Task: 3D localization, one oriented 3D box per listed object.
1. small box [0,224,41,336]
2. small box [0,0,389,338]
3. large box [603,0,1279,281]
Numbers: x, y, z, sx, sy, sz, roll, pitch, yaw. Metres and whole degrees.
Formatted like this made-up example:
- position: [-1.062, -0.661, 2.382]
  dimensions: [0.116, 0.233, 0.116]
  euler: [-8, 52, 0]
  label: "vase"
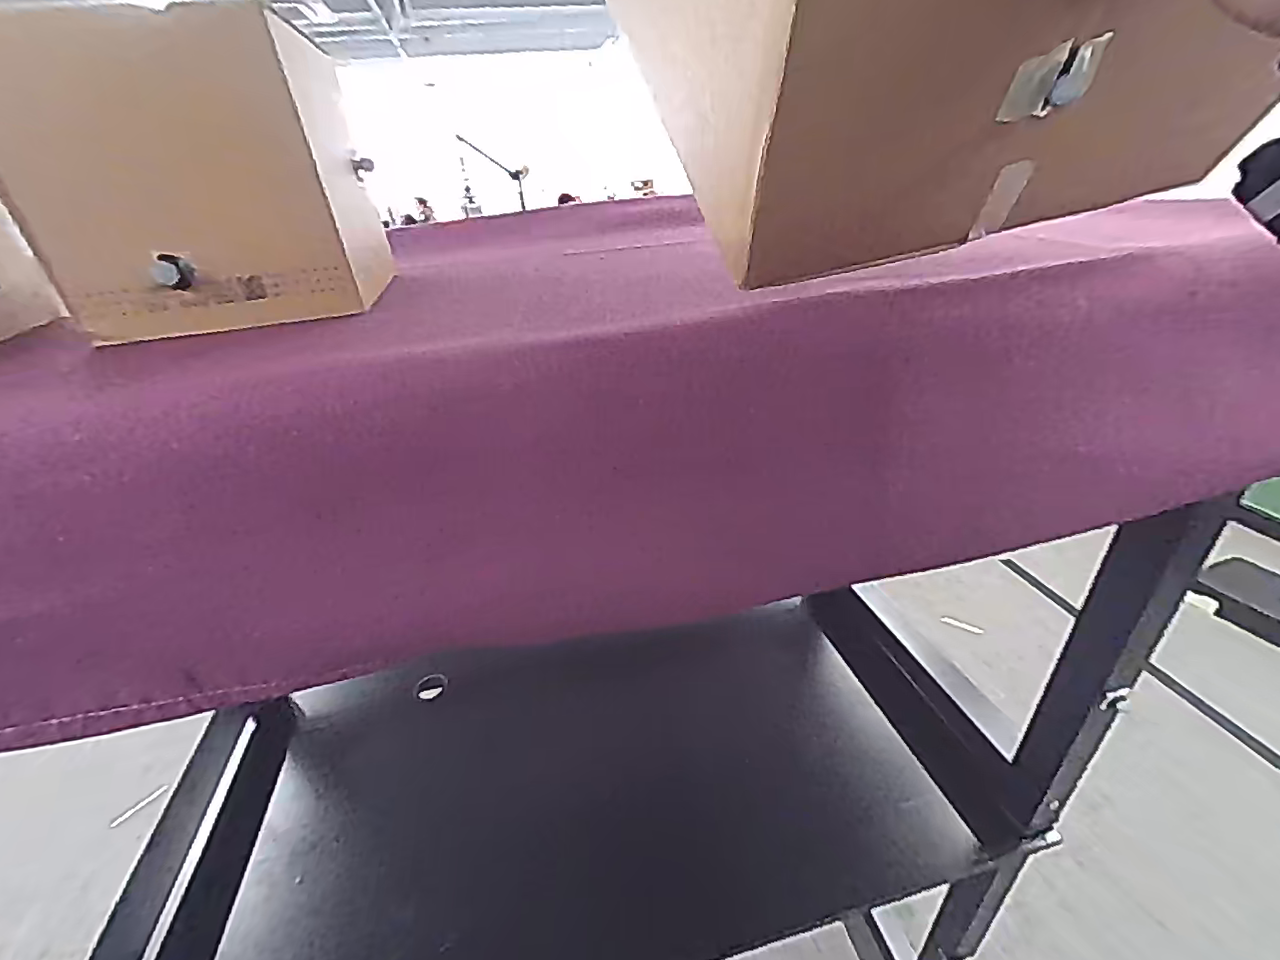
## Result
- position: [-0.520, -0.147, 0.308]
  dimensions: [0.168, 0.176, 0.179]
  euler: [-16, 31, -17]
  label: "small box"
- position: [-0.293, -0.209, 0.381]
  dimensions: [0.168, 0.176, 0.179]
  euler: [-12, 31, -10]
  label: "small box"
- position: [0.146, -0.382, 0.271]
  dimensions: [0.320, 0.320, 0.408]
  euler: [-15, 65, -5]
  label: "large box"
